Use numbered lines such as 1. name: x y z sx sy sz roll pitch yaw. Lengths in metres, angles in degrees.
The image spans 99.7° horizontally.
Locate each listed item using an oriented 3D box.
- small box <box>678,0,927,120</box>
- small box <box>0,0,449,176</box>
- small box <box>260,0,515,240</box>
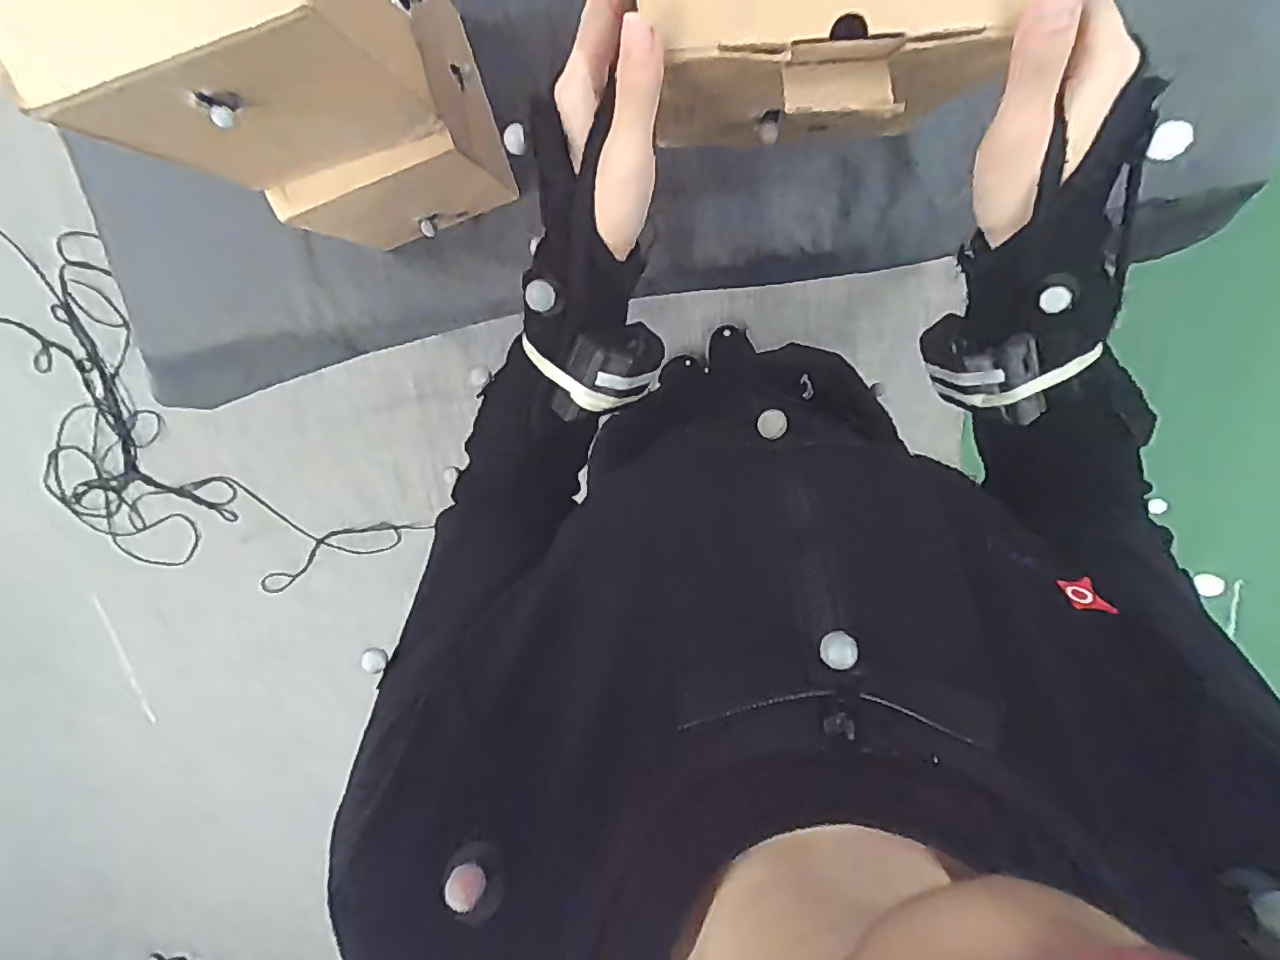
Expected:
1. small box: 0.113 -0.413 0.428 0.168 0.176 0.179 -6 106 7
2. small box: -0.247 -0.306 0.321 0.179 0.176 0.168 -11 105 8
3. small box: -0.235 -0.338 0.481 0.168 0.176 0.179 -16 104 10
